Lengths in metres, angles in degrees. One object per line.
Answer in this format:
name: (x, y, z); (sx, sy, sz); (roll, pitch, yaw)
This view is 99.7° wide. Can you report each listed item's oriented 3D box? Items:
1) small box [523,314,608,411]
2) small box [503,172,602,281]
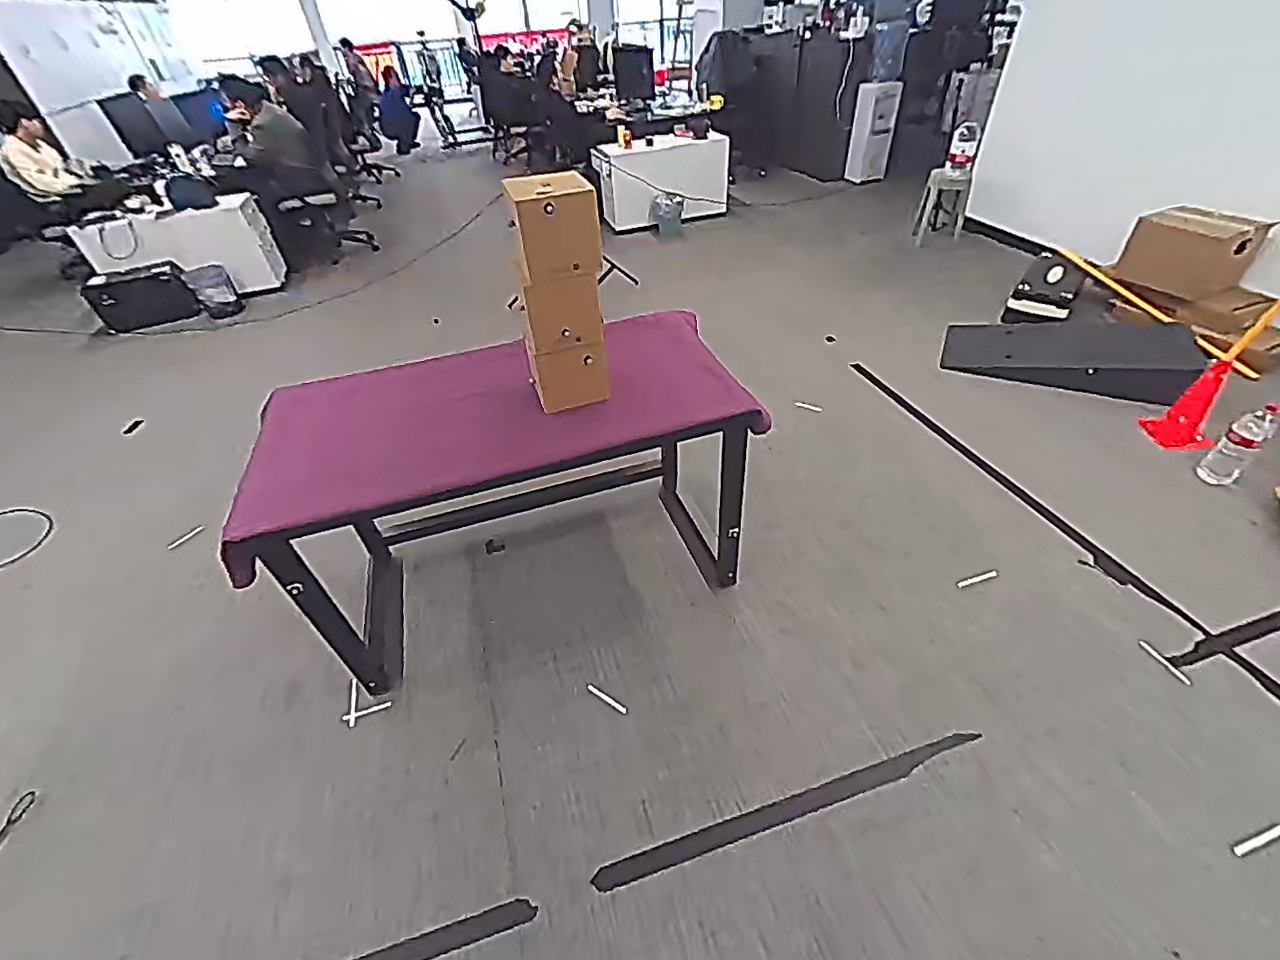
small box: (-0.187, -0.302, 1.389); (0.179, 0.176, 0.168); (-16, 42, -11)
small box: (-0.189, -0.551, 1.175); (0.168, 0.176, 0.179); (-16, 43, -12)
